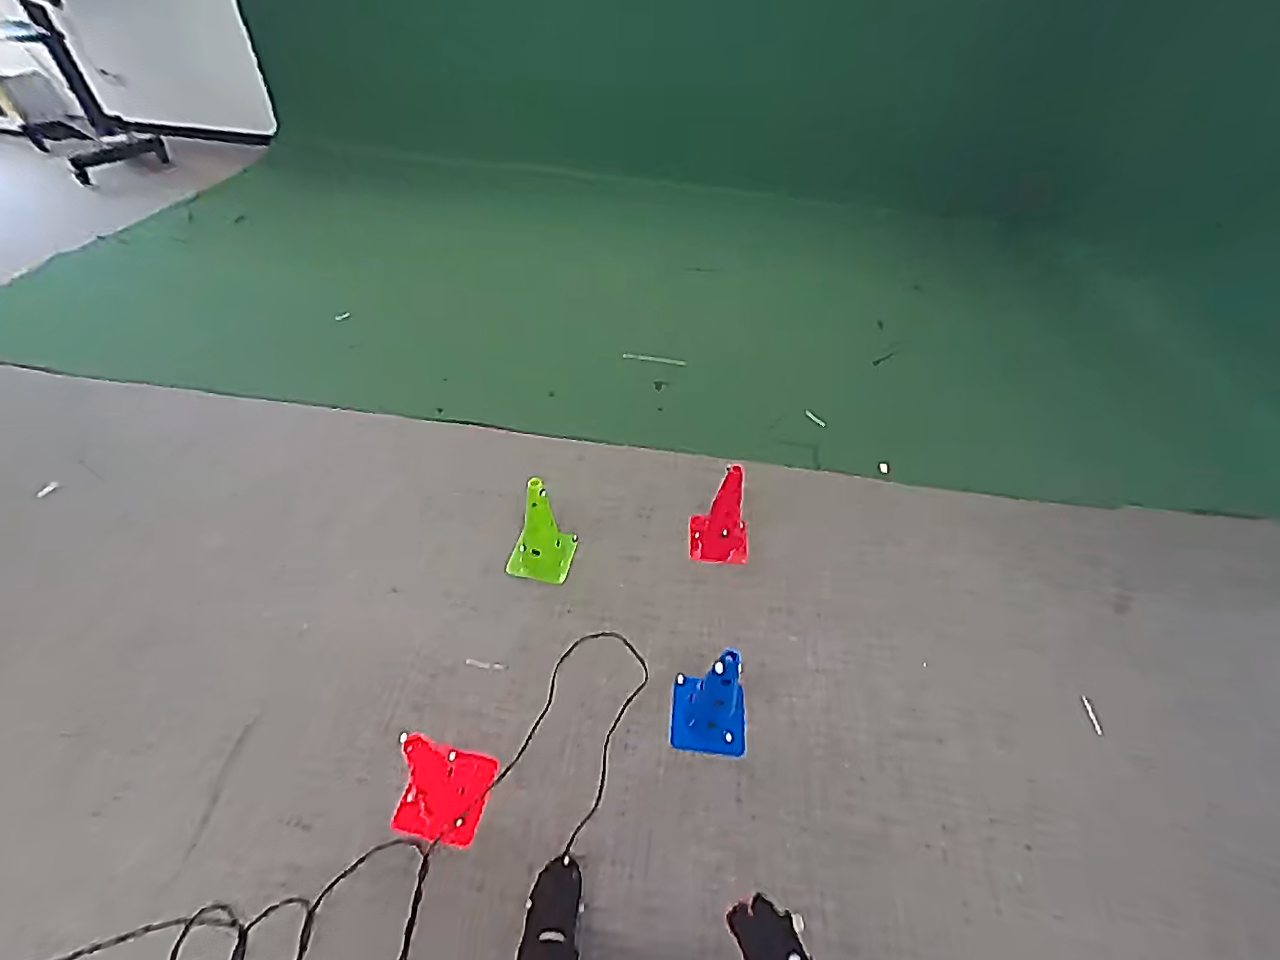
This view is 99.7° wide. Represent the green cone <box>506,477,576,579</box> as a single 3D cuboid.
[{"bbox_3d":[-0.322,0.122,1.695,0.200,0.368,0.202,9,47,4],"label":"green cone"}]

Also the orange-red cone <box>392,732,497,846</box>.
[{"bbox_3d":[-0.457,0.637,1.193,0.198,0.360,0.199,12,45,5],"label":"orange-red cone"}]
